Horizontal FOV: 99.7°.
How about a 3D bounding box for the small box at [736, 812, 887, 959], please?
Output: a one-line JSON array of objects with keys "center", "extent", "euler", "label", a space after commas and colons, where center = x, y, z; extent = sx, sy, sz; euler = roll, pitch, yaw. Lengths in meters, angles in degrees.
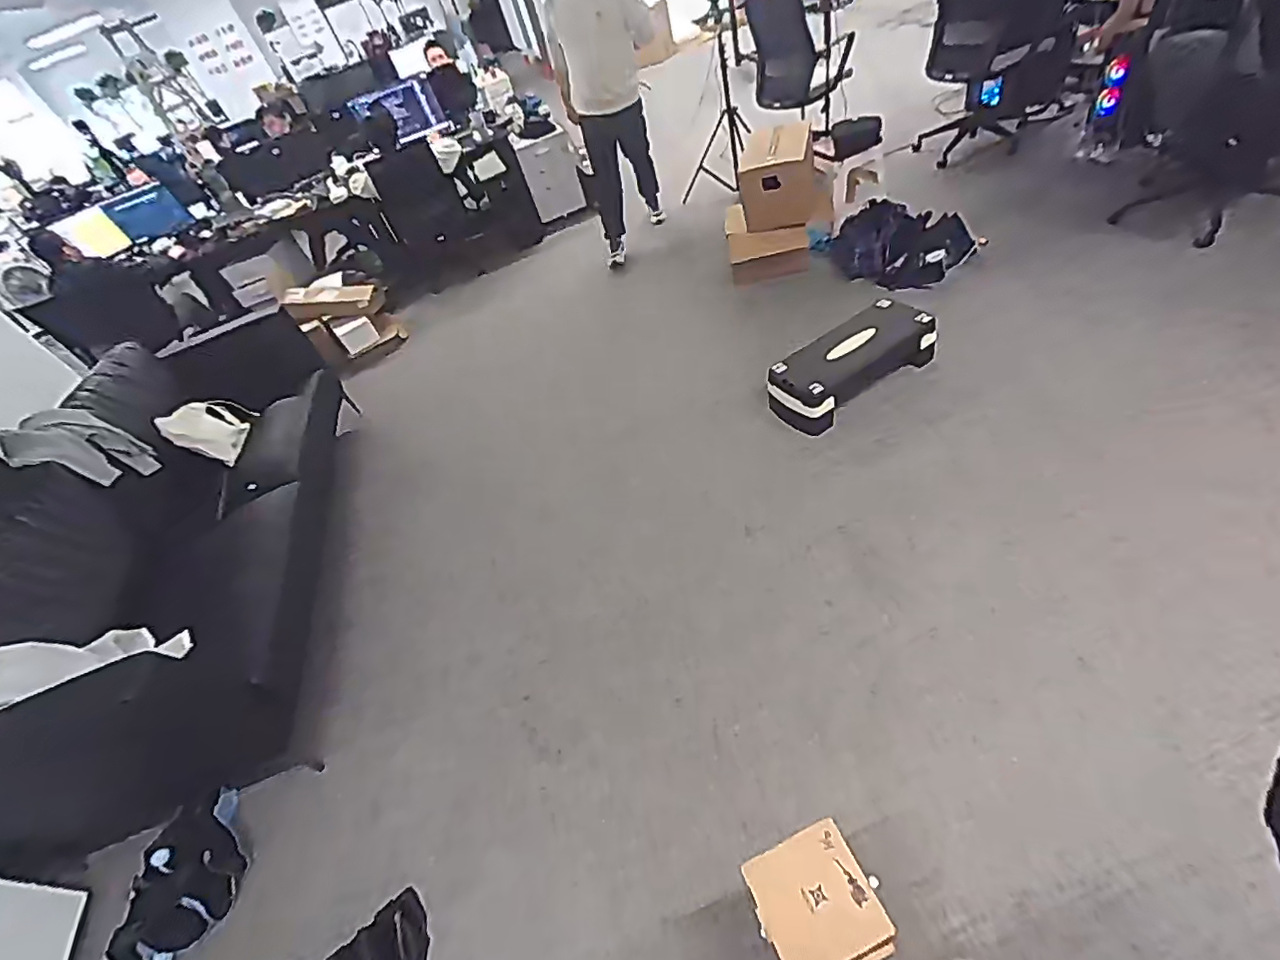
[{"center": [0.287, 0.696, 0.900], "extent": [0.179, 0.176, 0.168], "euler": [-27, 44, -3], "label": "small box"}]
